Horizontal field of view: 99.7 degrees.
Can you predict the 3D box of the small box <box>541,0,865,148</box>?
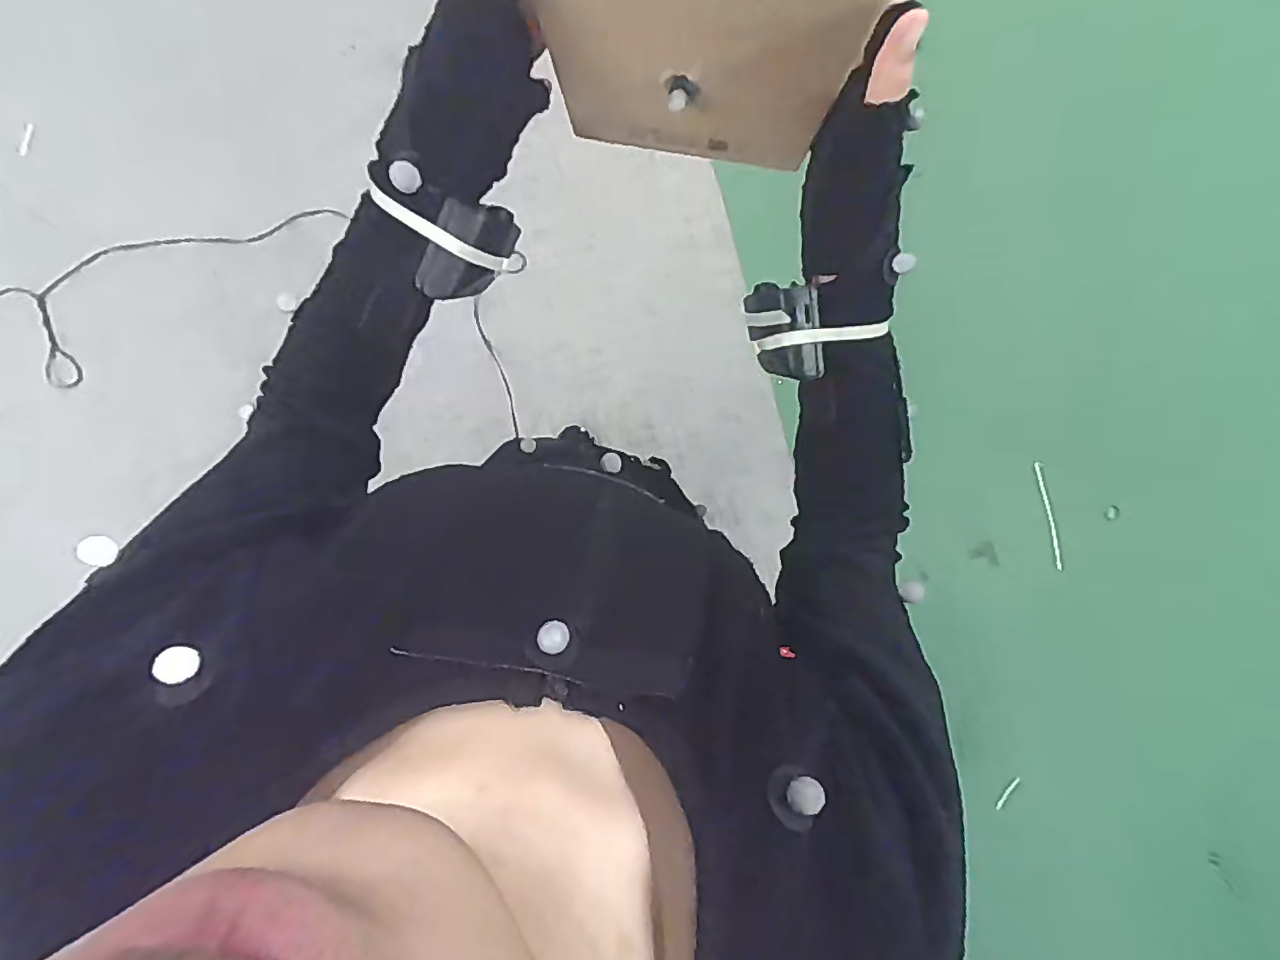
[{"bbox_3d":[0.042,-0.316,0.294,0.168,0.176,0.179,9,96,1],"label":"small box"}]
